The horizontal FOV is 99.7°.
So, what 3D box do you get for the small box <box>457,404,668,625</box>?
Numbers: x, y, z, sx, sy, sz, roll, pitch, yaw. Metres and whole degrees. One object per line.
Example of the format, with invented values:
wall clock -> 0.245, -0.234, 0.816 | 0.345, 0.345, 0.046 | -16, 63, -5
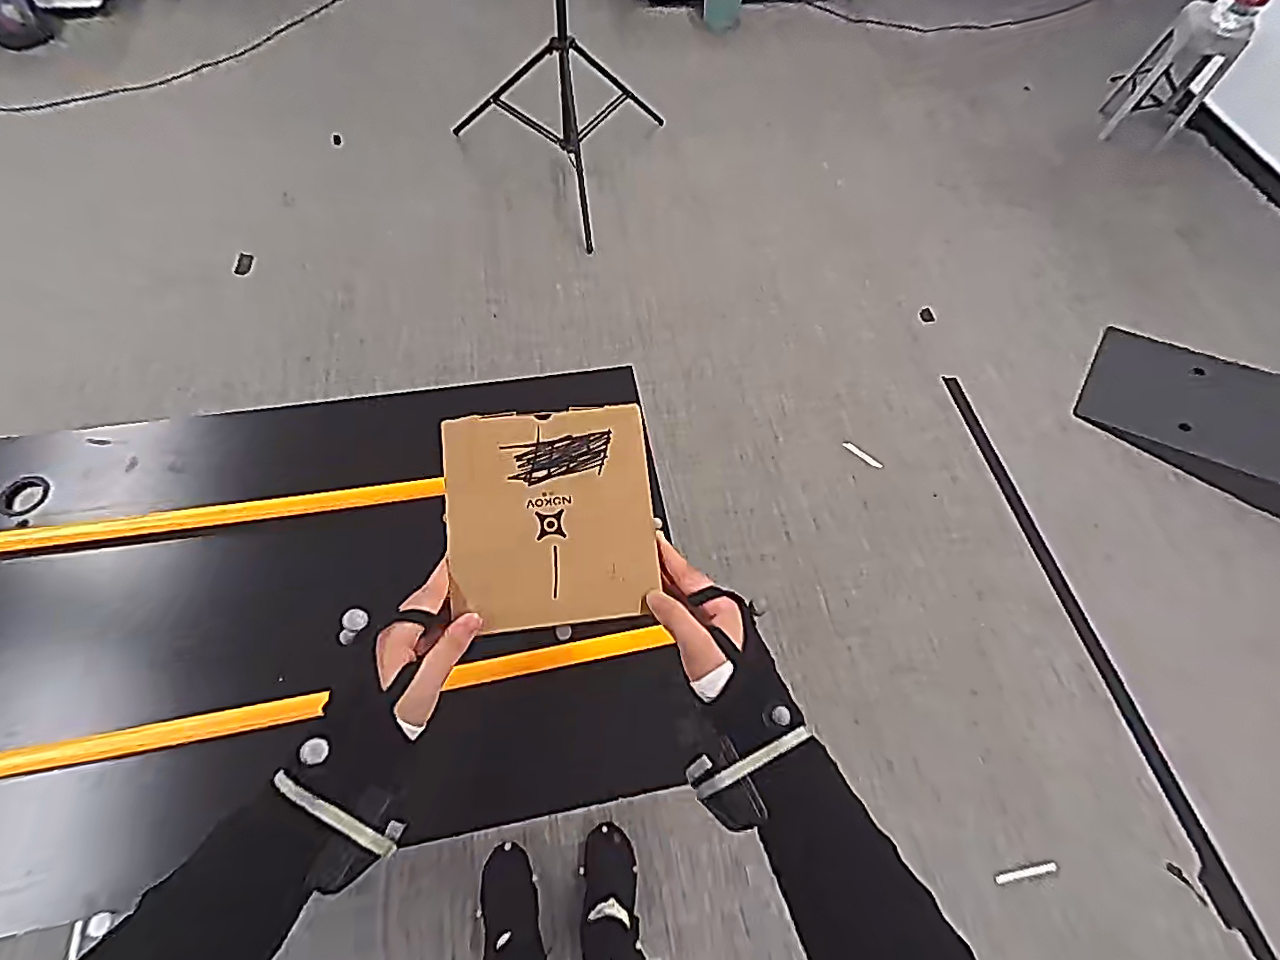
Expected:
small box -> -0.073, 0.042, 0.523 | 0.168, 0.176, 0.179 | -6, 78, -5
